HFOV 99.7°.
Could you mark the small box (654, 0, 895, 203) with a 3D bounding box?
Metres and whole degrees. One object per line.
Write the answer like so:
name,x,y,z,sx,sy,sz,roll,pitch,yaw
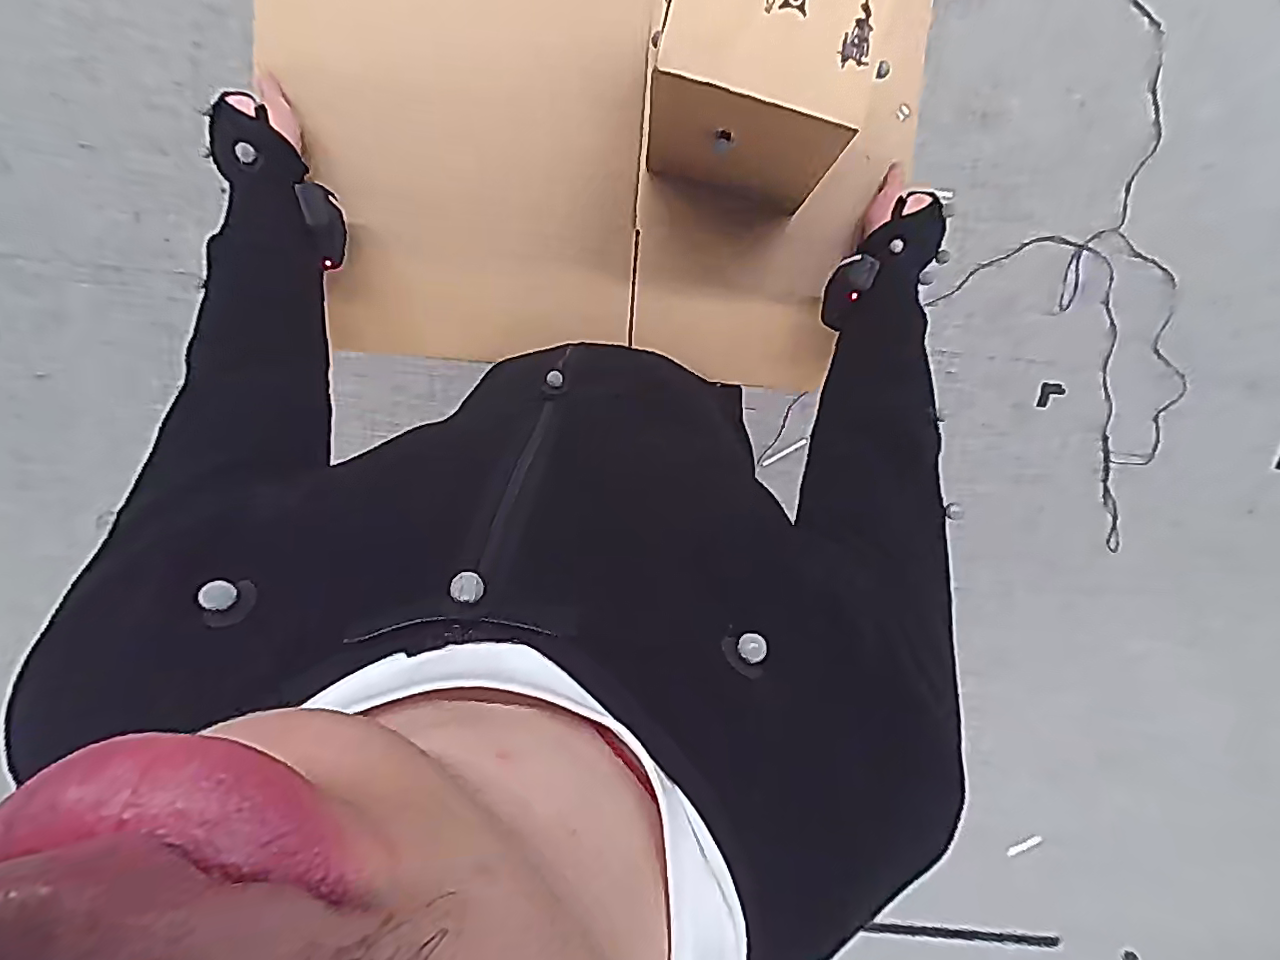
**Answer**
small box,0.116,-0.393,0.512,0.179,0.176,0.168,15,95,-2
